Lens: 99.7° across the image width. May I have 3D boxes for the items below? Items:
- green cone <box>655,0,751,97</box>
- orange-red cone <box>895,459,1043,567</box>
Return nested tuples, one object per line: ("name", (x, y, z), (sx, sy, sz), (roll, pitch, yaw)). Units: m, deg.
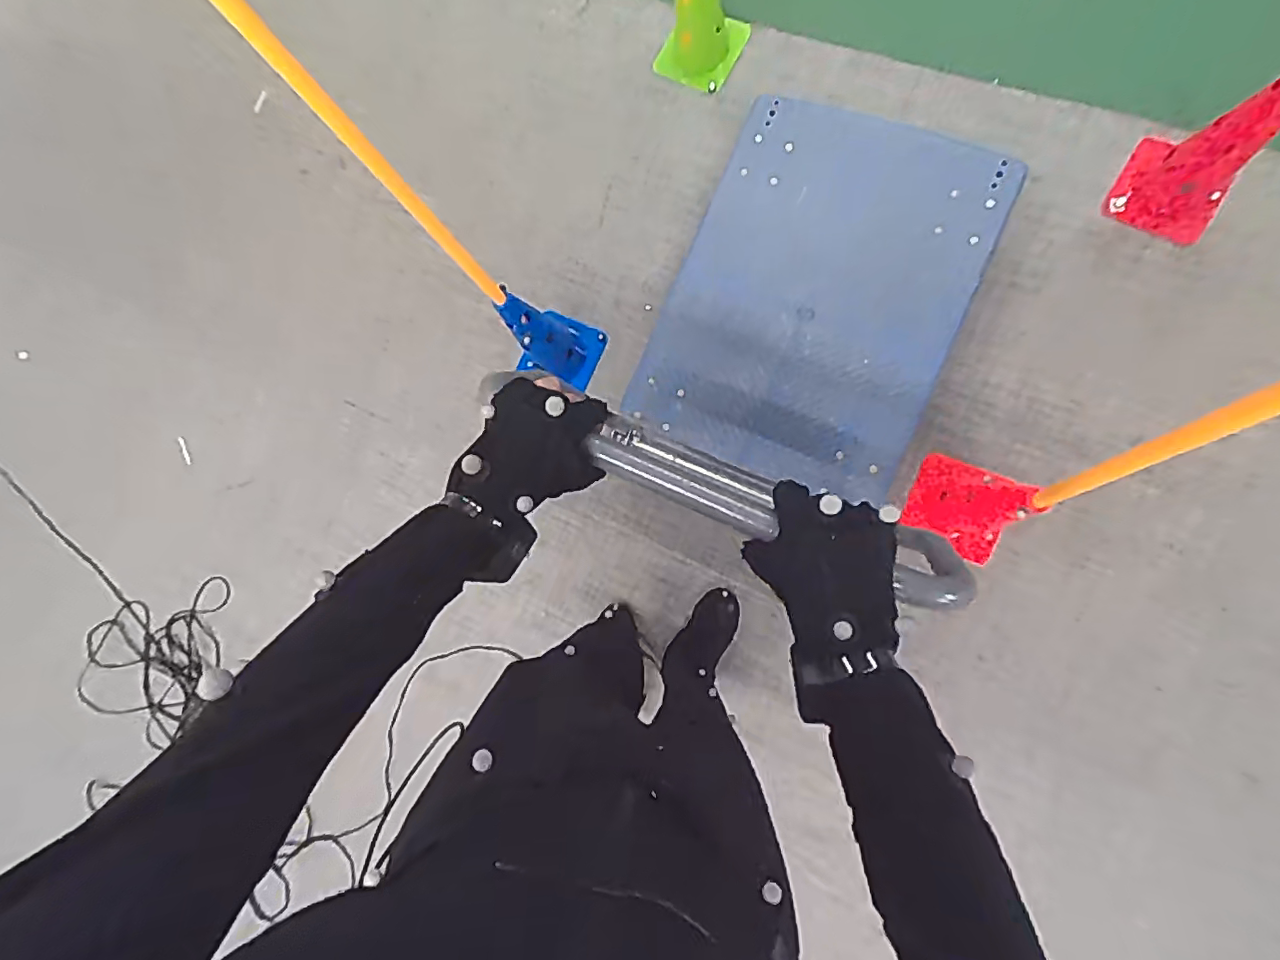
("green cone", (0.130, -1.135, 1.249), (0.202, 0.368, 0.200), (30, 90, 13))
("orange-red cone", (0.664, 0.054, 1.044), (0.199, 0.360, 0.198), (25, 89, 14))
